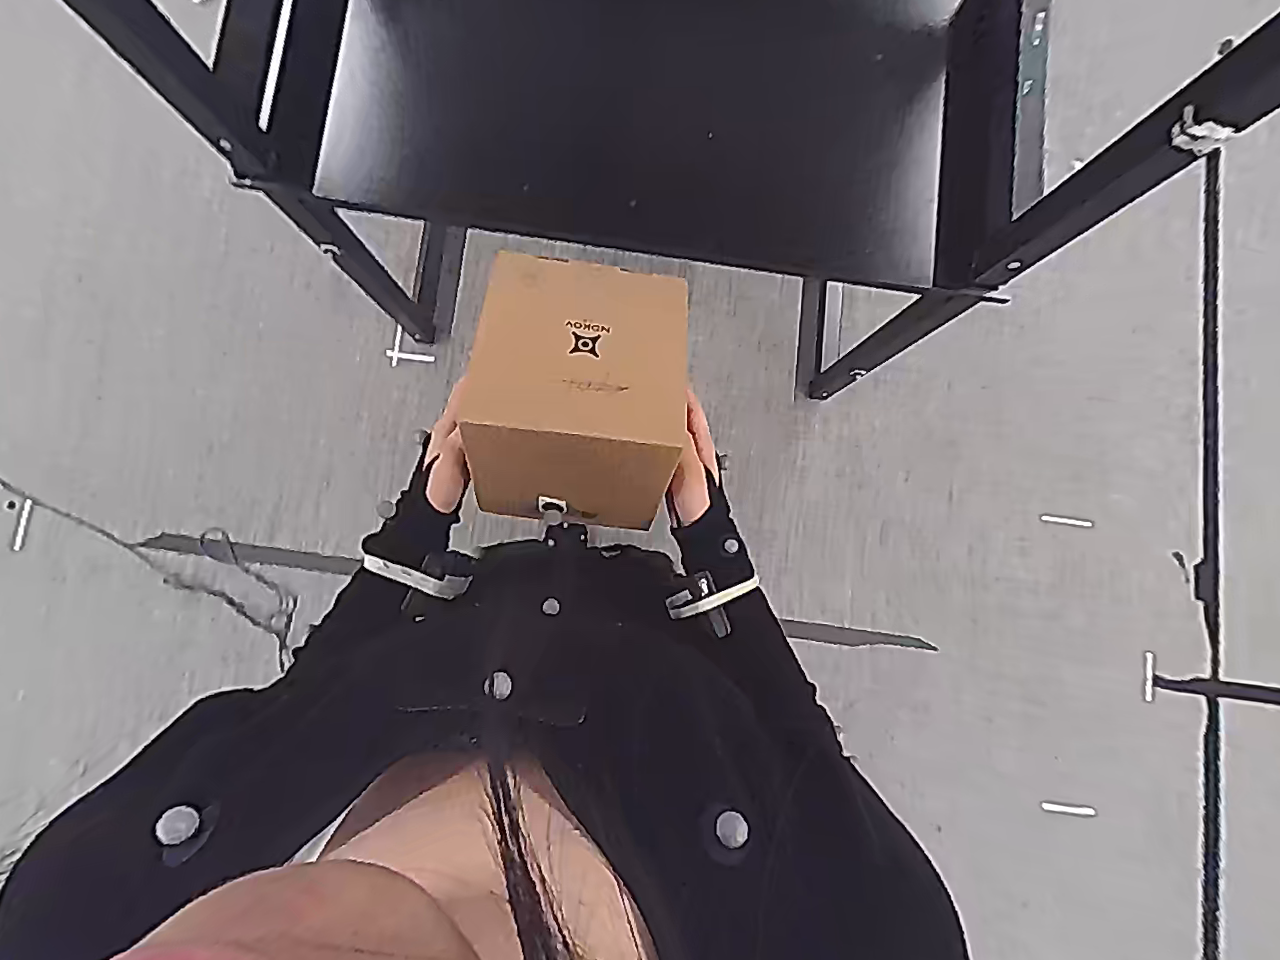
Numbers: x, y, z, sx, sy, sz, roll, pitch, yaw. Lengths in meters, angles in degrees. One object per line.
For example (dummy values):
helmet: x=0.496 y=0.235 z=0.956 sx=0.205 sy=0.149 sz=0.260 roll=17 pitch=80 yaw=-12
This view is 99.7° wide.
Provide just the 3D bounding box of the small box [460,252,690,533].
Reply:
small box: x=-0.054 y=-0.070 z=0.492 sx=0.168 sy=0.176 sz=0.179 roll=6 pitch=62 yaw=-6
